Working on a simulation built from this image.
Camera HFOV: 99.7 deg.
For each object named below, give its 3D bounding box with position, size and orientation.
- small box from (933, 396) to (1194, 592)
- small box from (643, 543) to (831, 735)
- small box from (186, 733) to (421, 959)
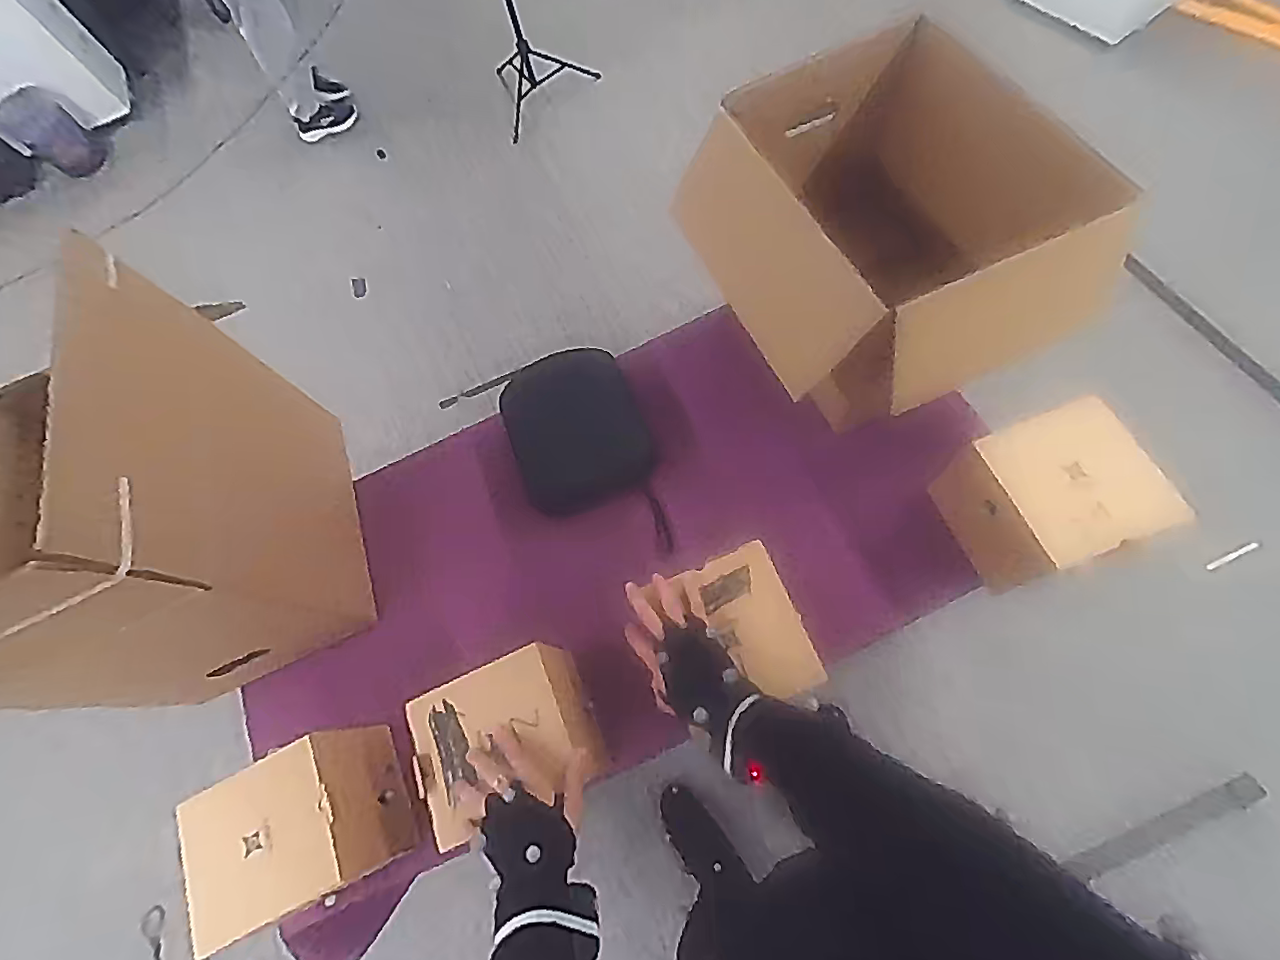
[{"bbox_3d":[0.520,0.027,0.702,0.168,0.176,0.179,-21,67,1],"label":"small box"},{"bbox_3d":[0.116,0.207,0.697,0.168,0.176,0.179,-23,68,0],"label":"small box"},{"bbox_3d":[-0.416,0.445,0.688,0.179,0.176,0.168,-28,67,-4],"label":"small box"}]
